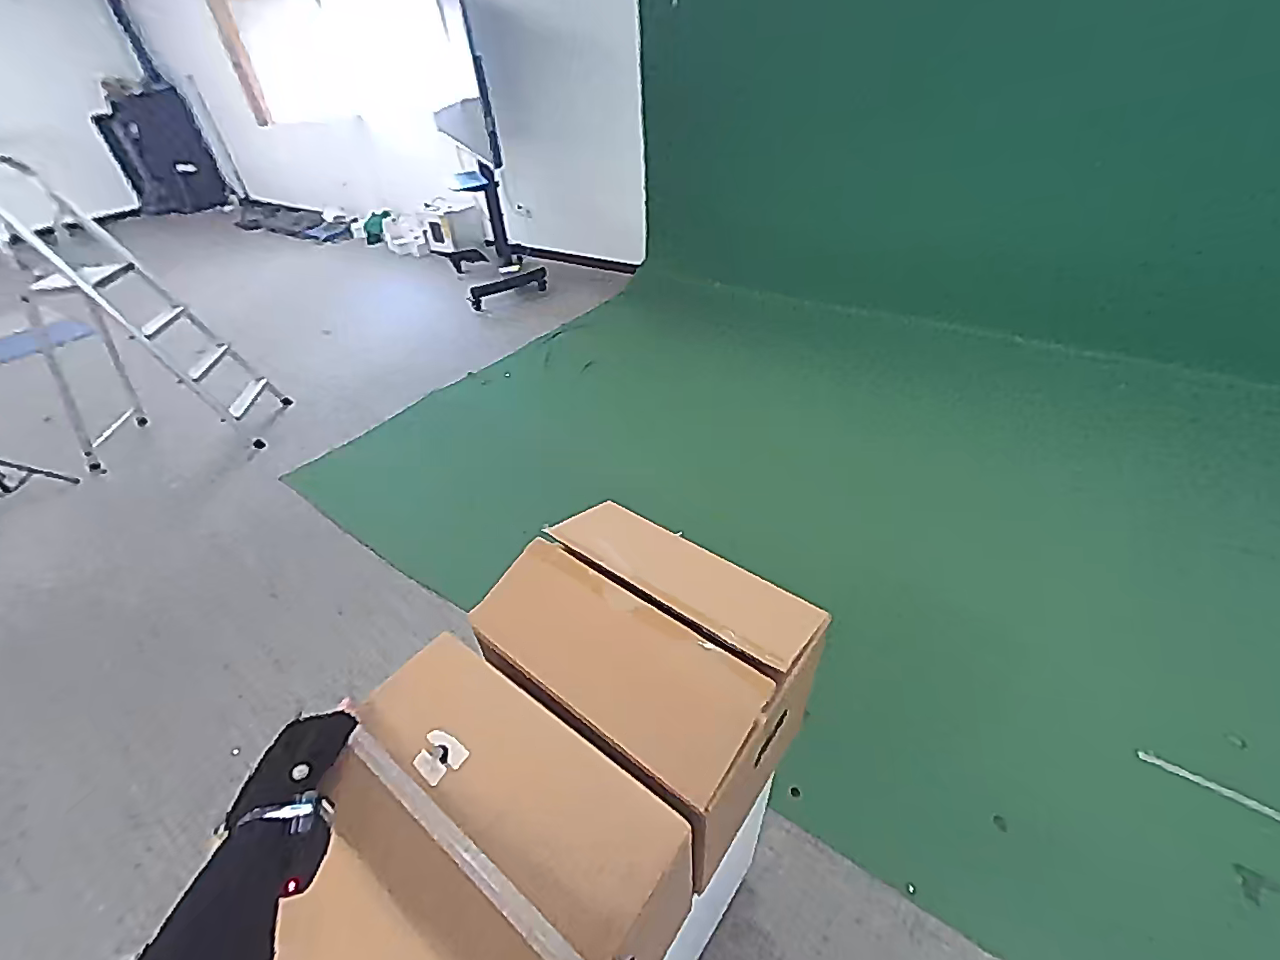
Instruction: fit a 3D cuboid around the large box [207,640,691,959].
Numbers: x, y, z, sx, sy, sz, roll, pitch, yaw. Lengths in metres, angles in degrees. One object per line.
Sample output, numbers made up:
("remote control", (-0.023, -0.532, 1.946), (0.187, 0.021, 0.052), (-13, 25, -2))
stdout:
("large box", (-0.189, 0.477, 0.648), (0.408, 0.320, 0.320), (22, 48, 30))
